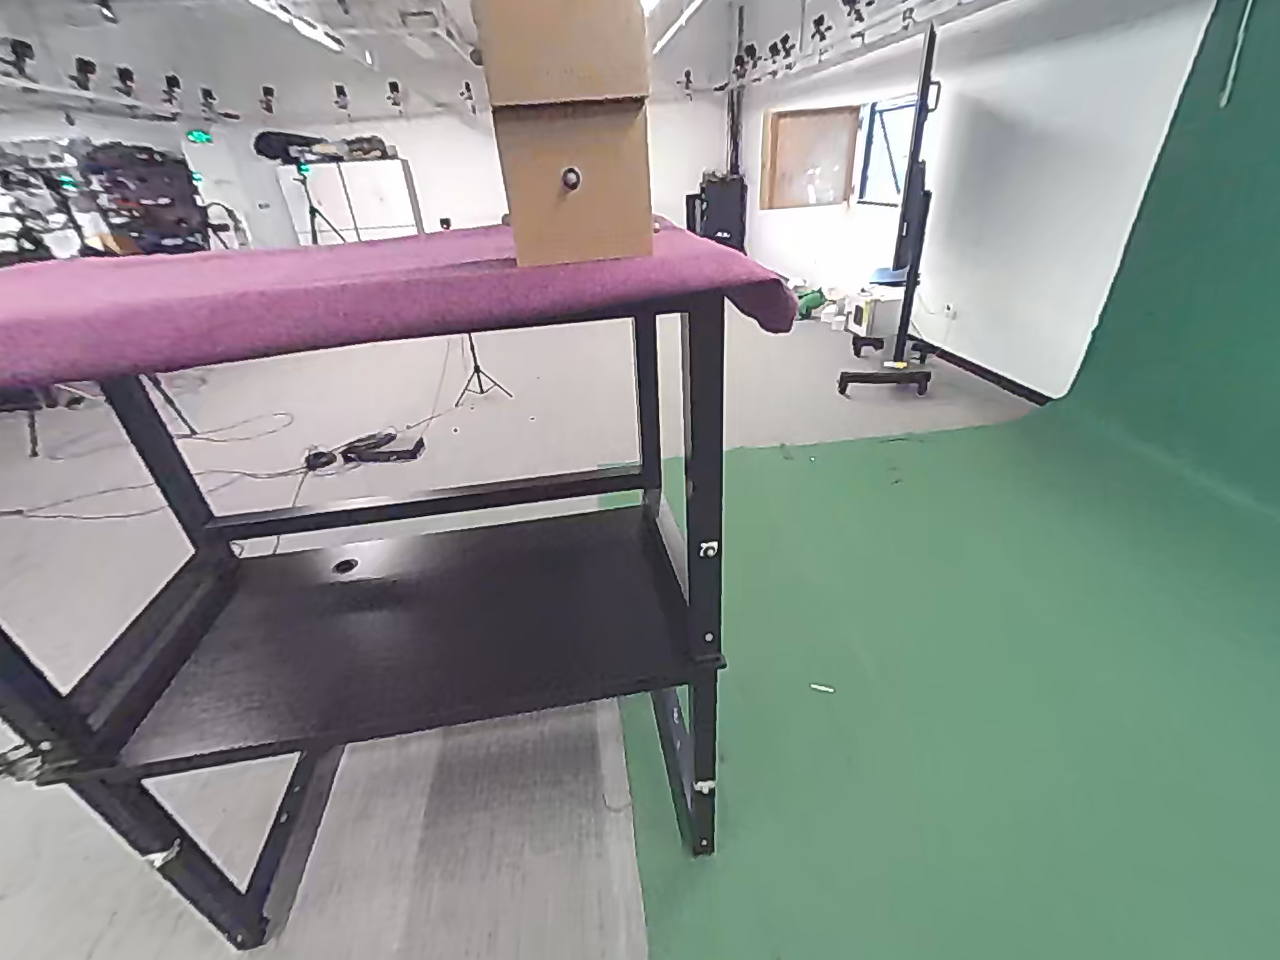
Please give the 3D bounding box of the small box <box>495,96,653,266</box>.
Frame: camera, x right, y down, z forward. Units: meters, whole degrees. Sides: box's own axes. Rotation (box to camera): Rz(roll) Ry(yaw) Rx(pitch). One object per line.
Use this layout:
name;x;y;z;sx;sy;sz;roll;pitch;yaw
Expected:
small box;-0.079;-0.388;0.709;0.179;0.176;0.168;-8;30;-4

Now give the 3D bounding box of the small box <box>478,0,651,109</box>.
small box;-0.084;-0.520;0.609;0.179;0.176;0.168;-8;30;-5
